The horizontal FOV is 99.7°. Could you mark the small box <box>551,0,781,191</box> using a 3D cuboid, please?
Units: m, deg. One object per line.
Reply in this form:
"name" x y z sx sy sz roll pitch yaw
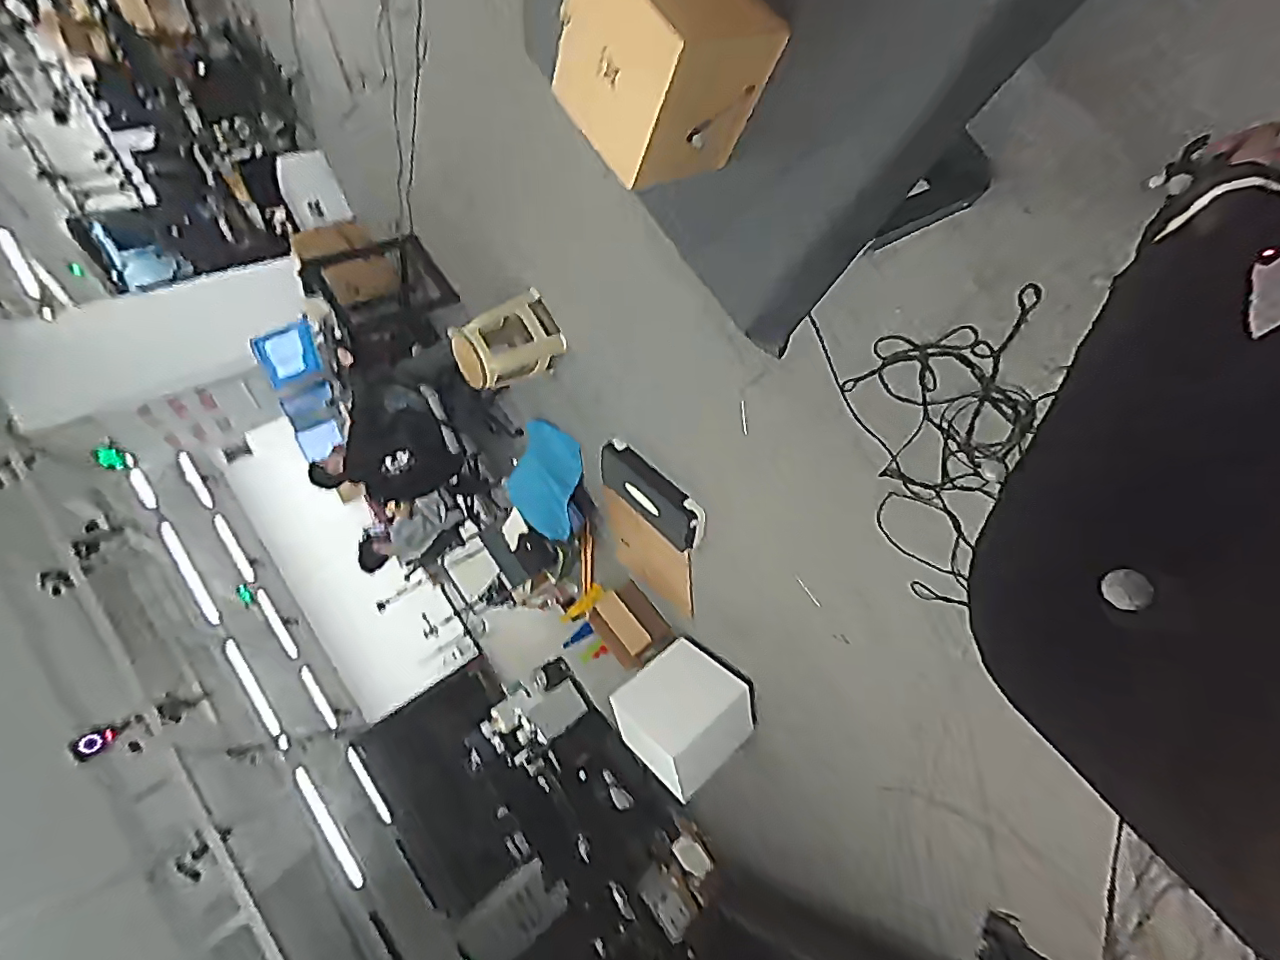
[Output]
"small box" 0.025 -0.476 0.618 0.179 0.176 0.168 55 151 10
